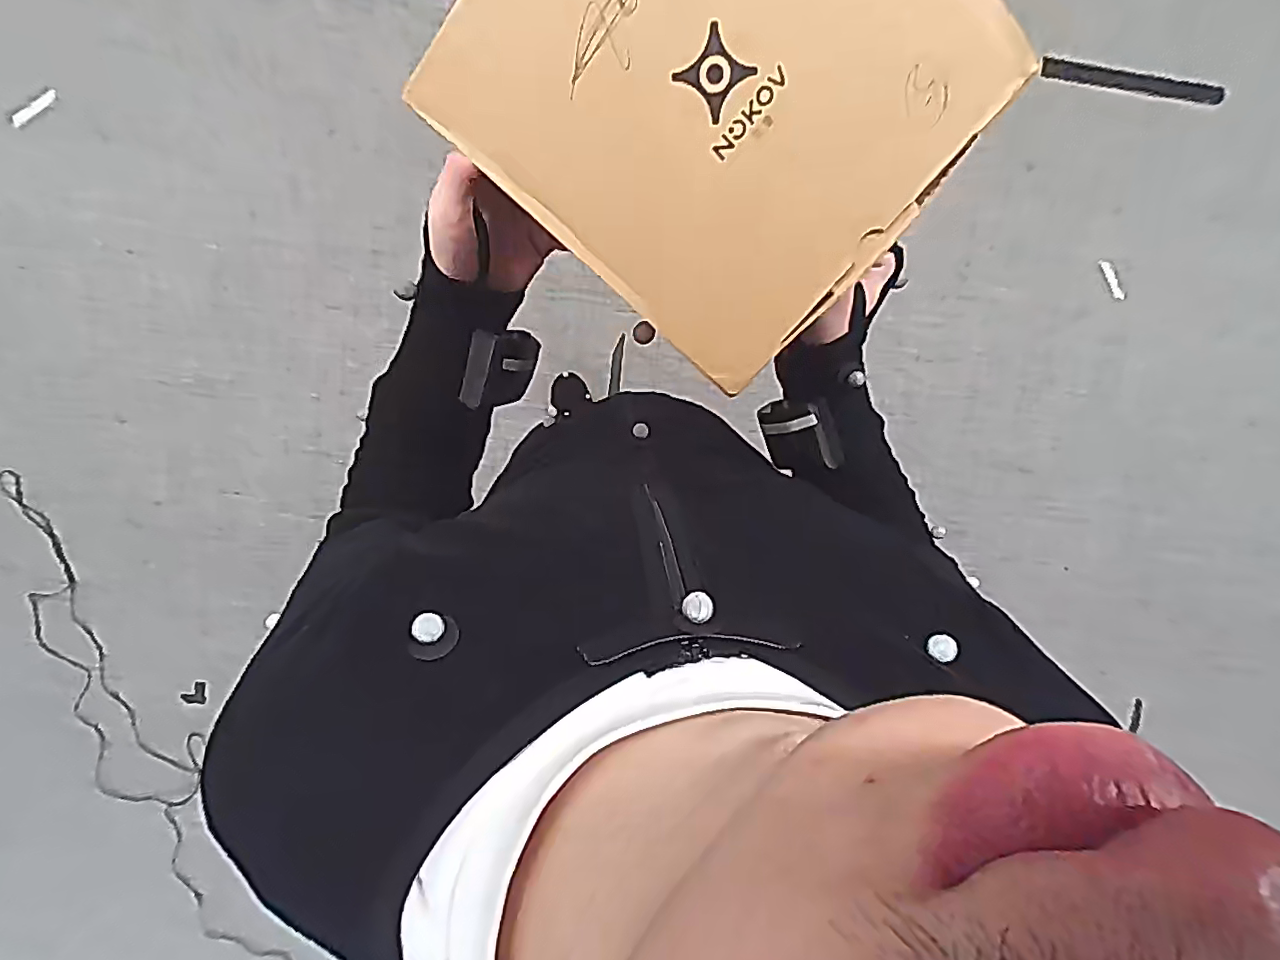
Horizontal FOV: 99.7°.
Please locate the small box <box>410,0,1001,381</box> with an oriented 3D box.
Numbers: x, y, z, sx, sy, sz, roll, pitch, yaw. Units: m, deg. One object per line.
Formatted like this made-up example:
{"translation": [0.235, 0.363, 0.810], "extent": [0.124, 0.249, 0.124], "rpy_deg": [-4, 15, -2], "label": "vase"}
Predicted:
{"translation": [0.025, -0.182, 0.286], "extent": [0.179, 0.176, 0.168], "rpy_deg": [39, 105, -14], "label": "small box"}
